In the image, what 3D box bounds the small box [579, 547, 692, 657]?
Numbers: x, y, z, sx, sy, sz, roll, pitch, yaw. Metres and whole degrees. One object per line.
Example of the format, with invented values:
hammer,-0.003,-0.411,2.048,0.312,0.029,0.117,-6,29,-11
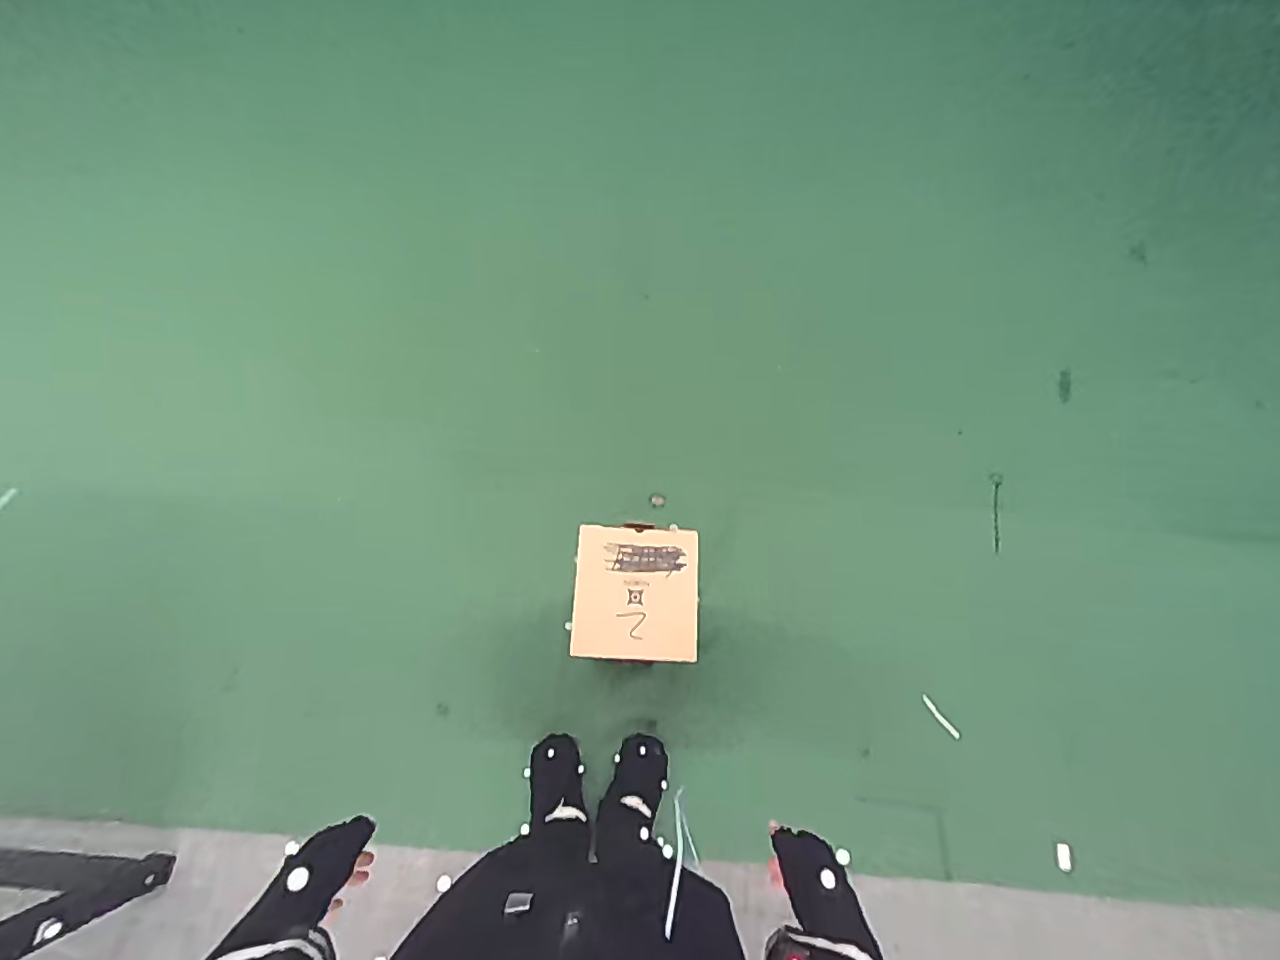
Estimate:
small box,-0.007,0.220,0.952,0.179,0.176,0.168,4,71,-1
